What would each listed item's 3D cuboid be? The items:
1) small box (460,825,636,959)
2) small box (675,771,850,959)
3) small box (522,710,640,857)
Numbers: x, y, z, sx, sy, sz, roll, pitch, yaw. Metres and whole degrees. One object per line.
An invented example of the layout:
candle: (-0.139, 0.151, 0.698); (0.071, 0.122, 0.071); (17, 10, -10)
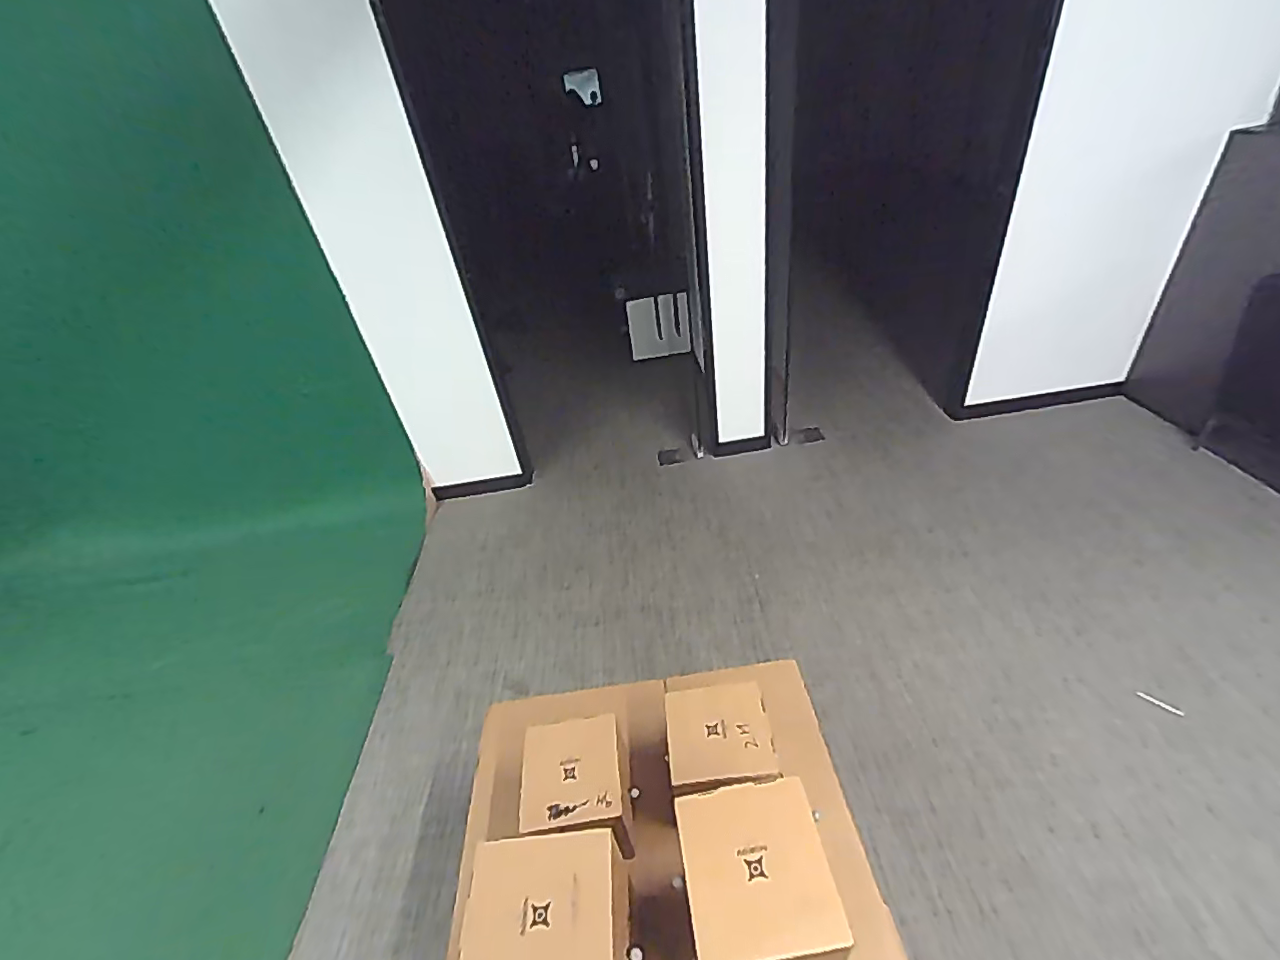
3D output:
small box: (-0.103, 0.555, 0.666); (0.179, 0.176, 0.168); (-8, 38, 2)
small box: (0.146, 0.502, 0.674); (0.168, 0.176, 0.179); (-11, 36, 1)
small box: (-0.099, 0.542, 0.954); (0.168, 0.176, 0.179); (-11, 35, 1)
